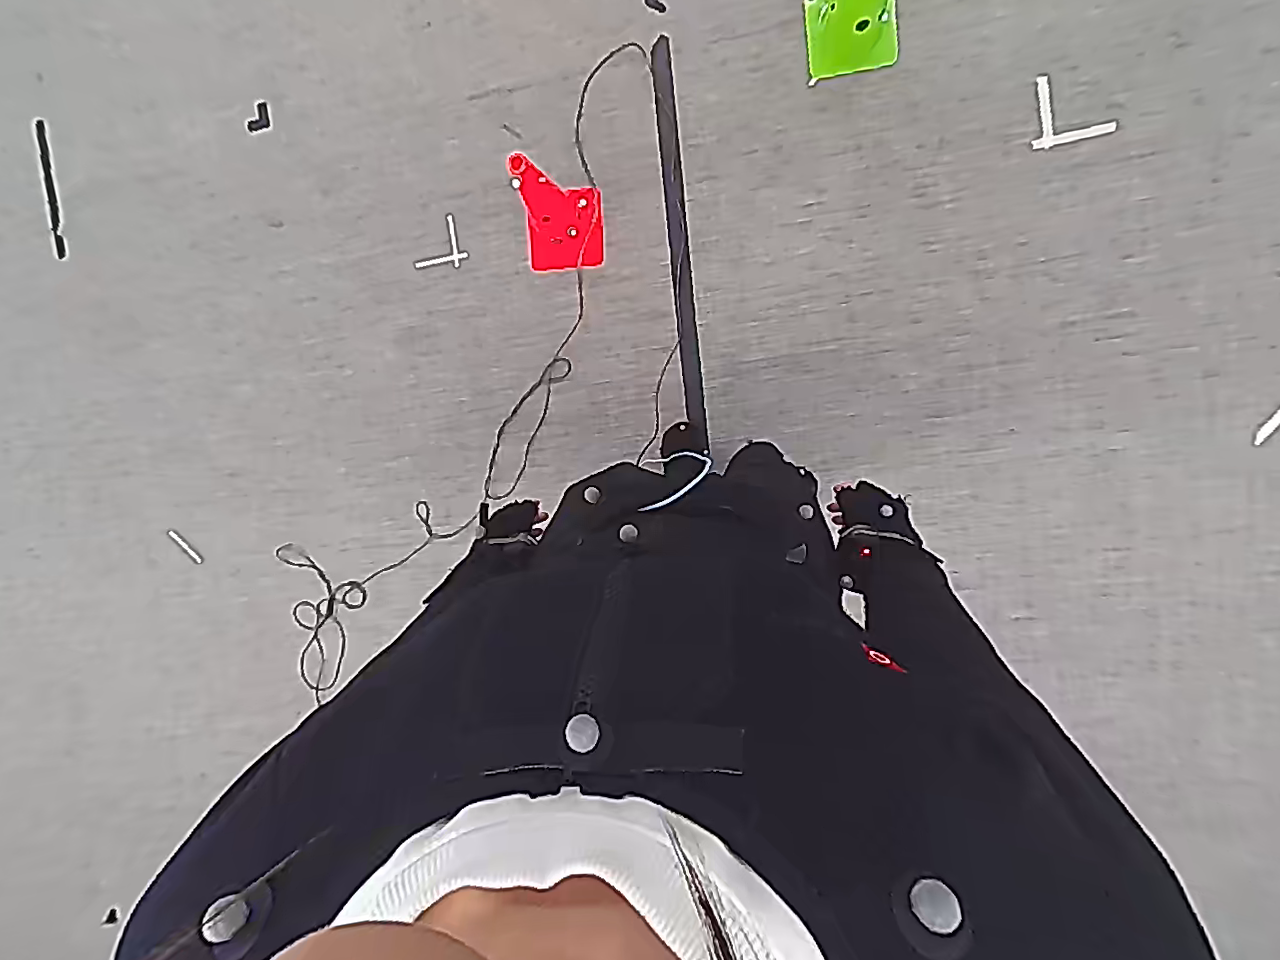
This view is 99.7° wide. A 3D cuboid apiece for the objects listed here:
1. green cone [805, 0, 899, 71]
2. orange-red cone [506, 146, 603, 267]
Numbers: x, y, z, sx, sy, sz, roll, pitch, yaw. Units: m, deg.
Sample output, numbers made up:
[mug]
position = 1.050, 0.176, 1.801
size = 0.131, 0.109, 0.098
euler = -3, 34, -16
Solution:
[green cone]
position = 0.472, -1.052, 1.088
size = 0.202, 0.368, 0.200
euler = -6, 94, 8
[orange-red cone]
position = -0.220, -0.645, 1.229
size = 0.199, 0.360, 0.198
euler = -1, 94, 10
